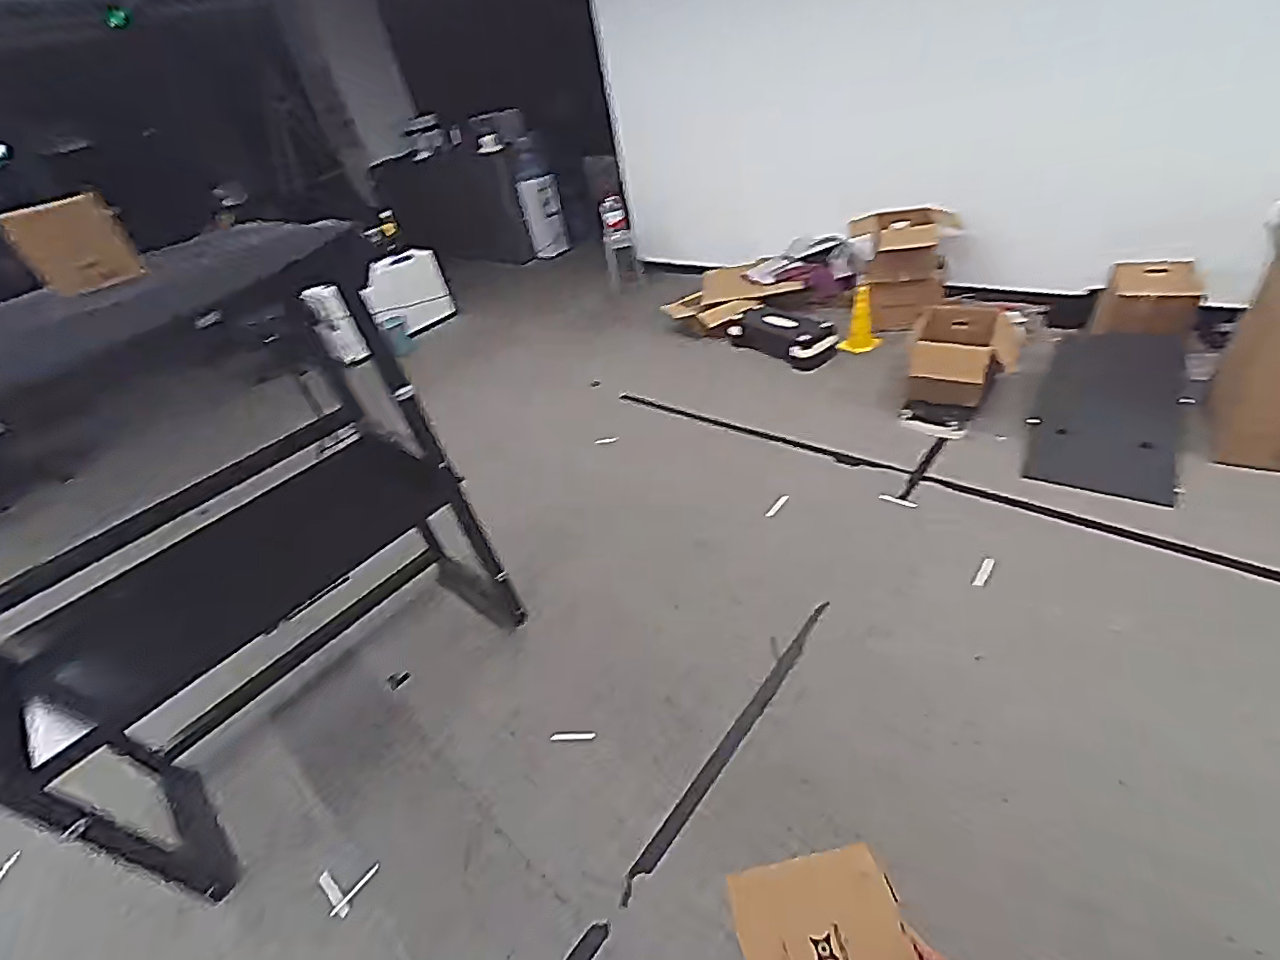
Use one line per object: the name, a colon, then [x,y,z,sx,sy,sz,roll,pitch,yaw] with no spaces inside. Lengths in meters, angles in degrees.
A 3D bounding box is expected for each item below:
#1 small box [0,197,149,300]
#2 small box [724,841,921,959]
small box: [-1.253,-0.518,1.208,0.168,0.176,0.179,-36,44,-26]
small box: [0.203,0.541,0.604,0.179,0.176,0.168,-14,38,-1]
